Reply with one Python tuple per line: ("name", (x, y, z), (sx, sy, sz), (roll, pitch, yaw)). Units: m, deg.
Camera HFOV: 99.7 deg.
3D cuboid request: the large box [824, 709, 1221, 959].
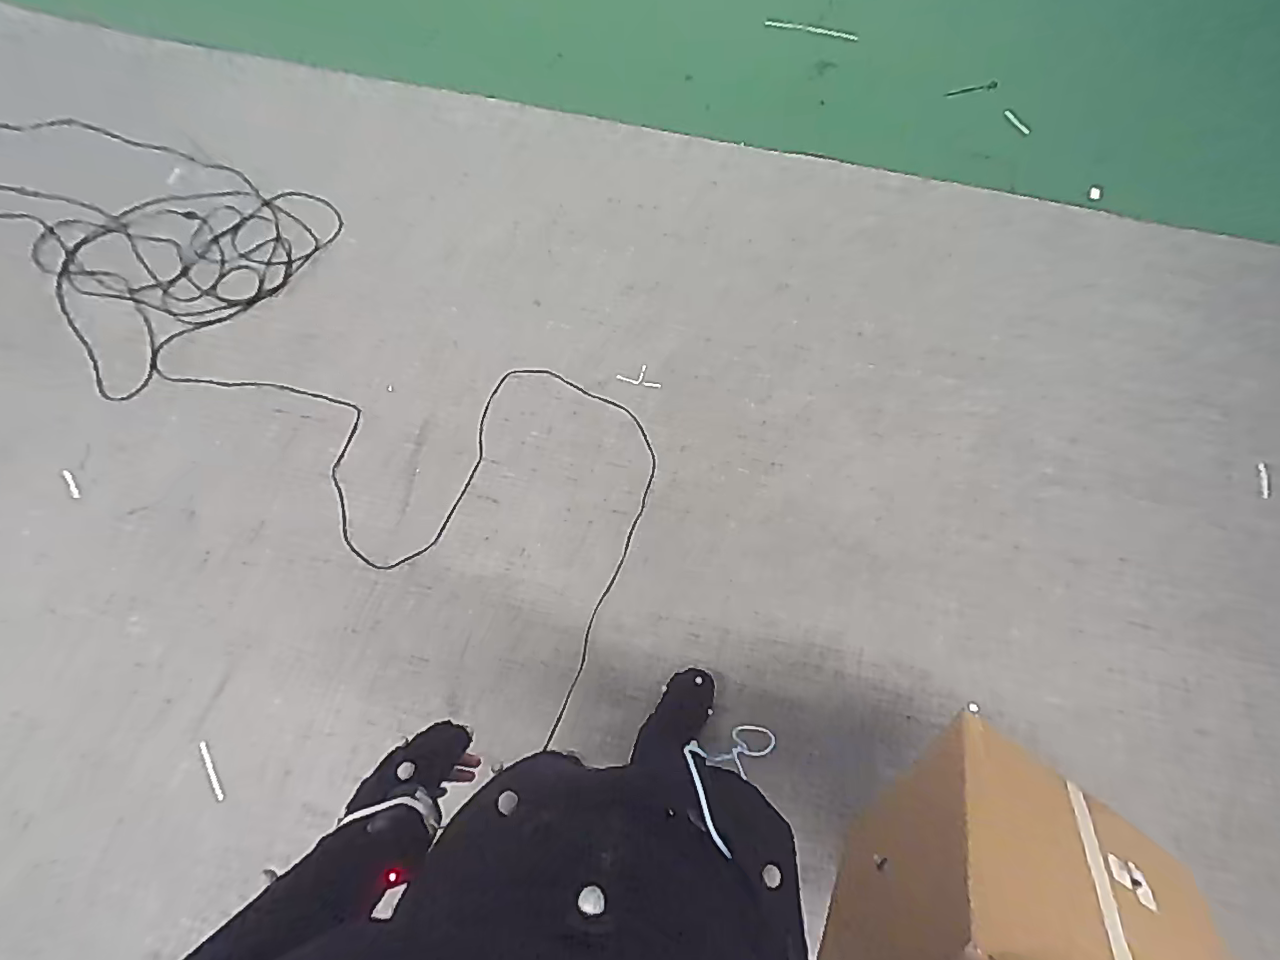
("large box", (0.450, 0.590, 0.670), (0.320, 0.408, 0.320), (36, 115, 19))
